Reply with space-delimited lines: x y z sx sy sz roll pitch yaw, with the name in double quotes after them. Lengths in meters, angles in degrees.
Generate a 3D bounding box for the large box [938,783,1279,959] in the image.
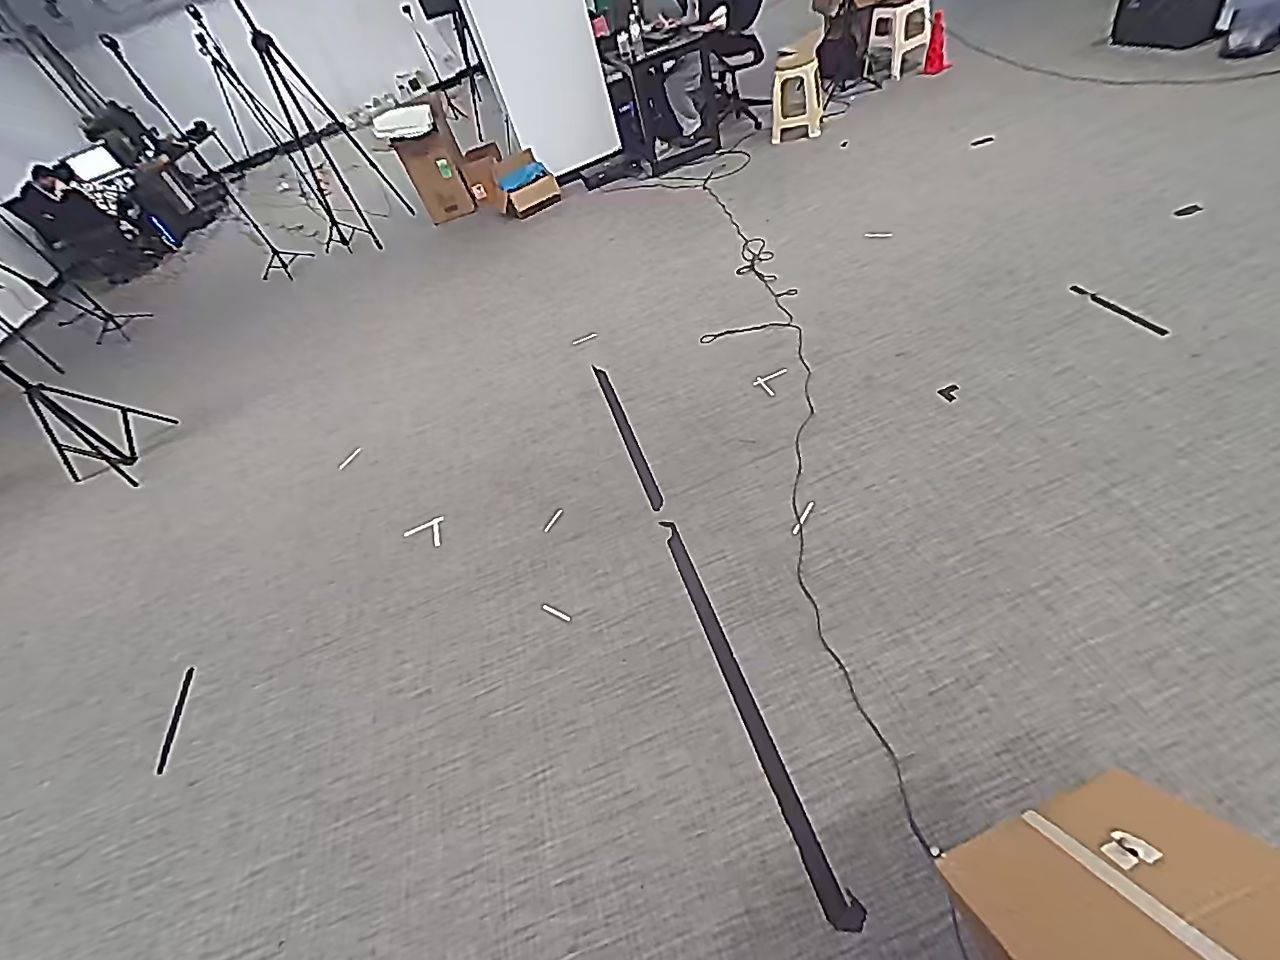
0.639 0.627 0.594 0.320 0.408 0.320 -24 83 -1 "large box"
